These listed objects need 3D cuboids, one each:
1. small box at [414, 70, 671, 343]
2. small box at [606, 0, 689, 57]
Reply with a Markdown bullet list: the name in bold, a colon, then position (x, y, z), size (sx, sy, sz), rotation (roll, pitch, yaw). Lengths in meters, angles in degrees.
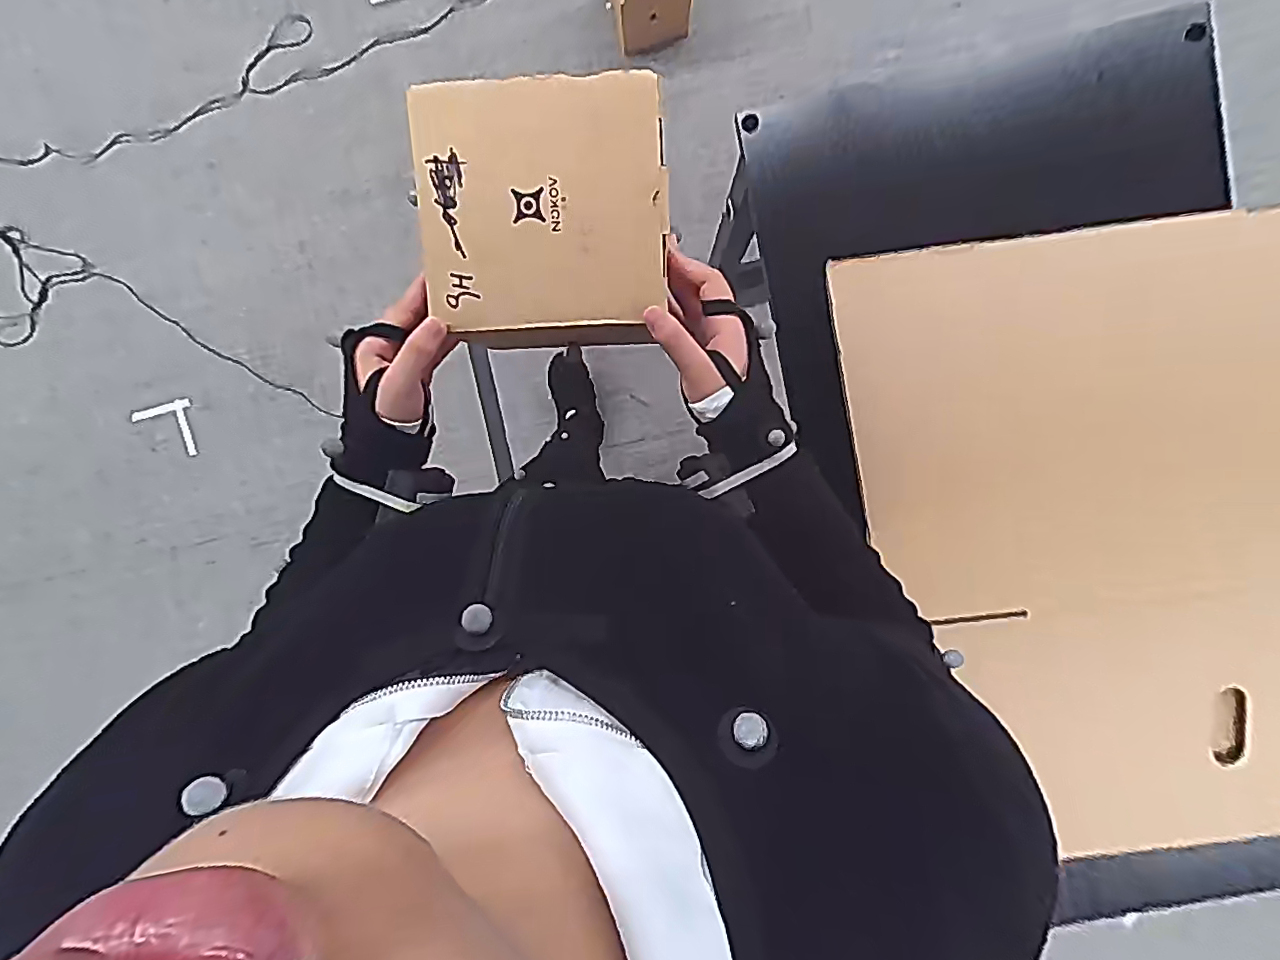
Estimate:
- **small box**: position (-0.069, -0.212, 0.463), size (0.179, 0.176, 0.168), rotation (-2, 98, 0)
- **small box**: position (0.014, -1.187, 1.314), size (0.179, 0.176, 0.168), rotation (-16, 94, 3)
